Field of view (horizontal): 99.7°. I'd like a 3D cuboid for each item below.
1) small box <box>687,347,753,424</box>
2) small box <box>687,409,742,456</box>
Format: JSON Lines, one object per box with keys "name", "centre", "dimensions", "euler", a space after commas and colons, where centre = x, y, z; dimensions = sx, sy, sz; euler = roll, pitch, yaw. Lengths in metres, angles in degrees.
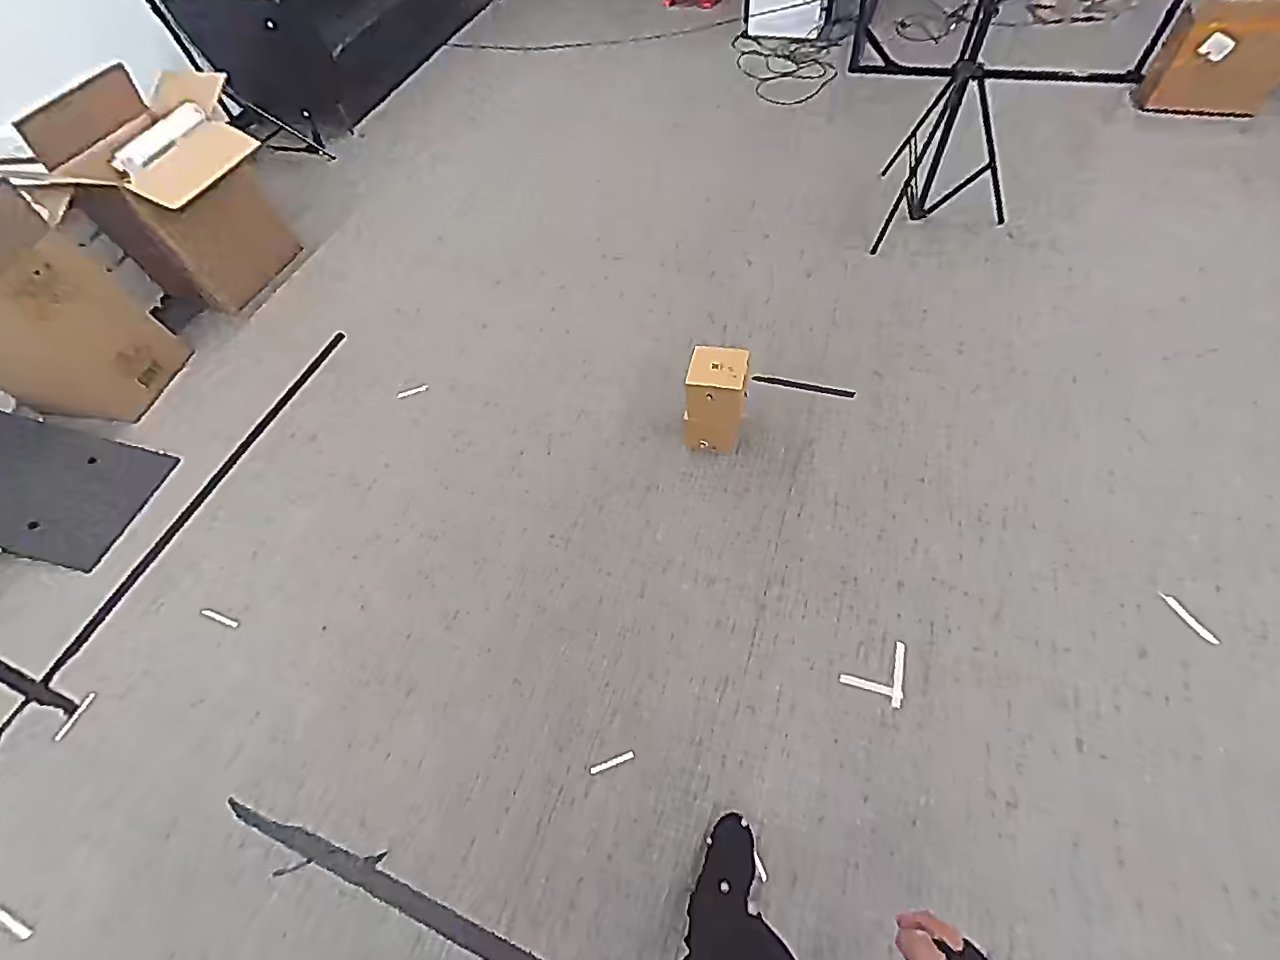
{"name": "small box", "centre": [0.256, -0.297, 1.714], "dimensions": [0.179, 0.176, 0.168], "euler": [10, 60, 14]}
{"name": "small box", "centre": [0.262, -0.211, 1.855], "dimensions": [0.168, 0.176, 0.179], "euler": [11, 61, 14]}
